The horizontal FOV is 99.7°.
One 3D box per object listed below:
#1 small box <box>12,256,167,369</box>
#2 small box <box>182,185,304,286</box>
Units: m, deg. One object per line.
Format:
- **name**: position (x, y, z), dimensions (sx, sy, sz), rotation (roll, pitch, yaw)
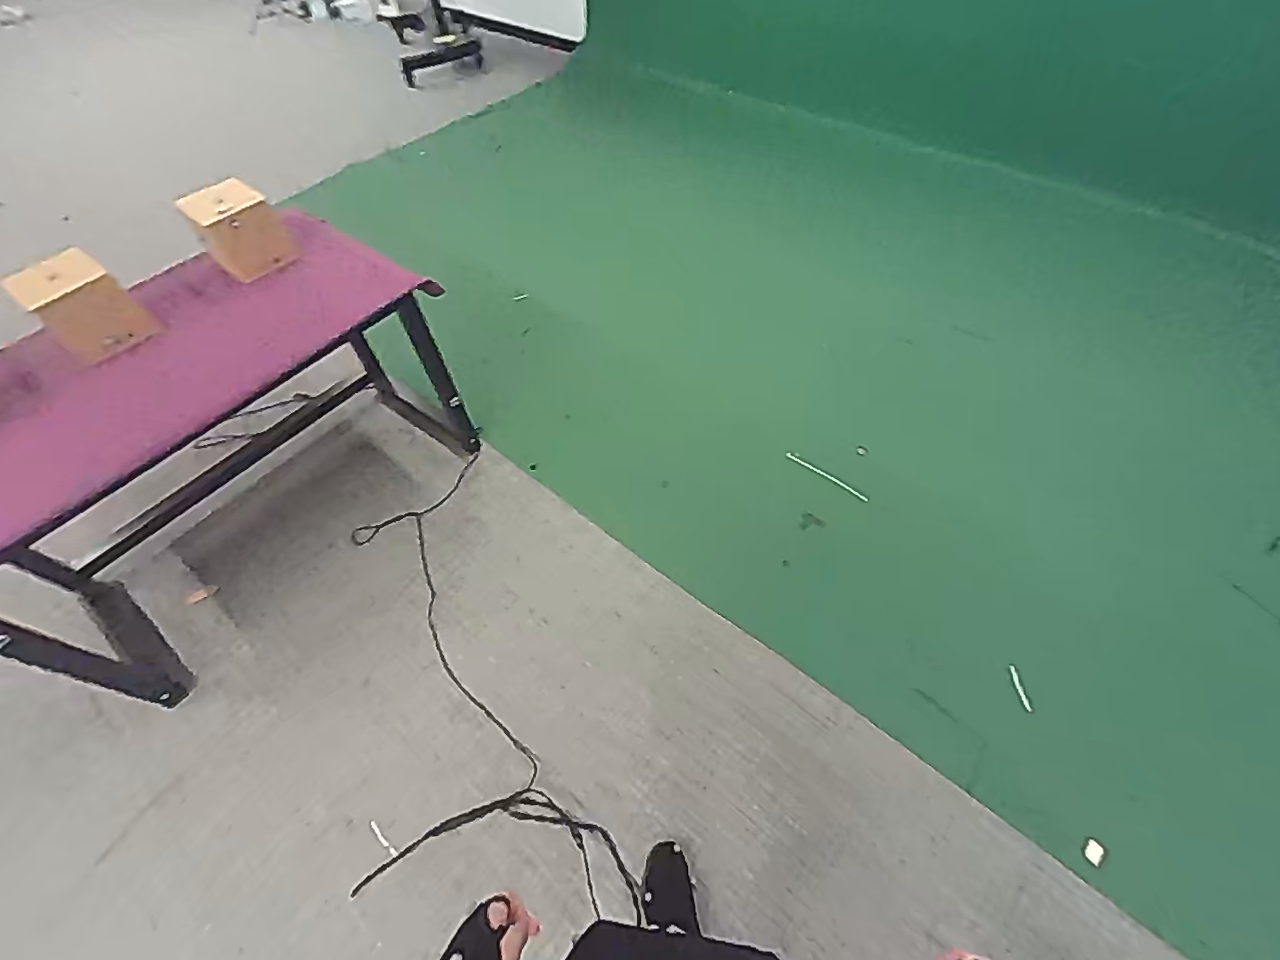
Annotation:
- **small box**: position (-1.302, -0.396, 1.291), dimensions (0.179, 0.176, 0.168), rotation (32, 64, 21)
- **small box**: position (-1.060, -0.653, 1.453), dimensions (0.179, 0.176, 0.168), rotation (33, 64, 23)
